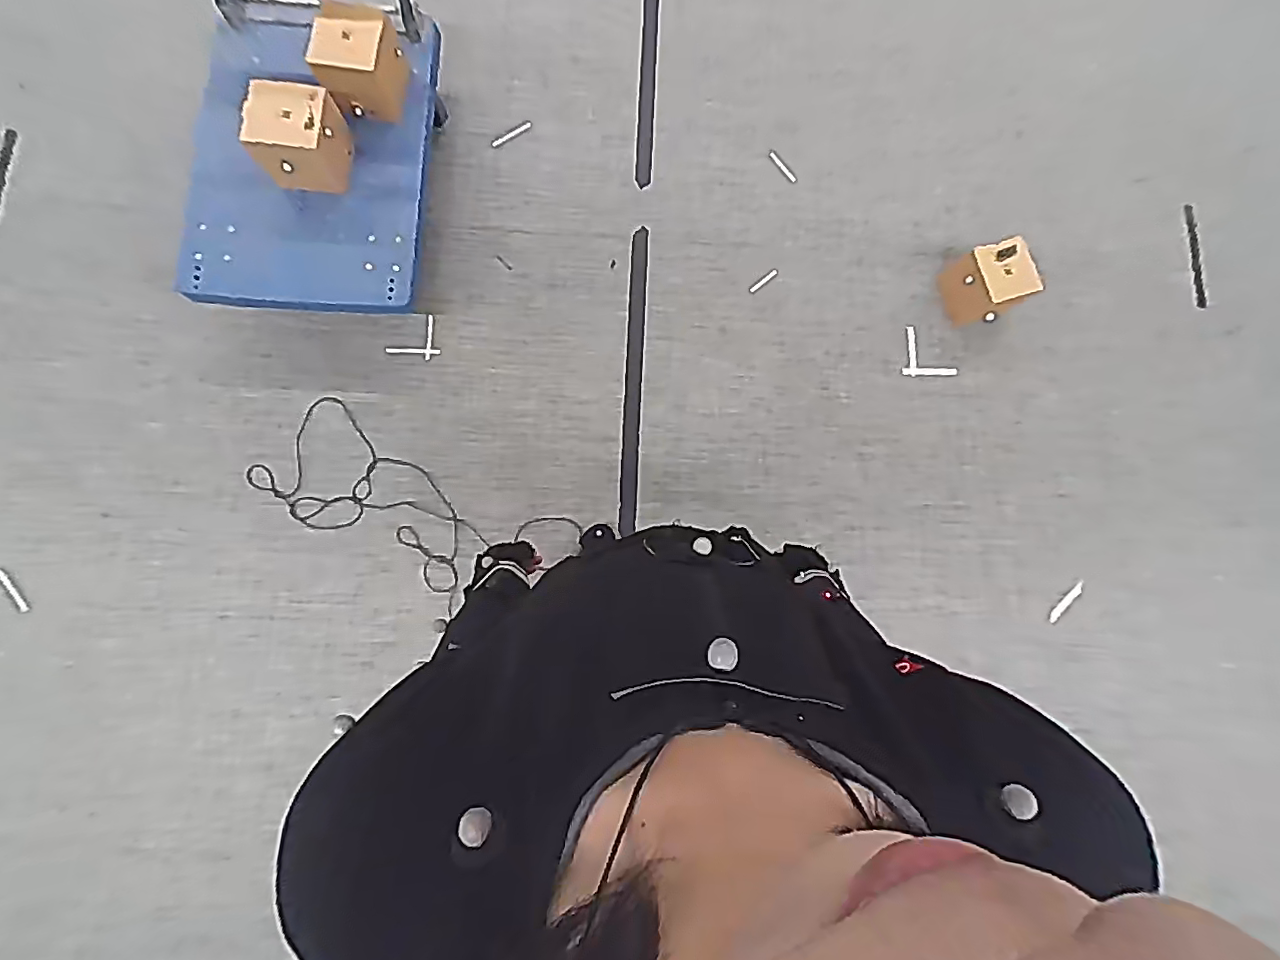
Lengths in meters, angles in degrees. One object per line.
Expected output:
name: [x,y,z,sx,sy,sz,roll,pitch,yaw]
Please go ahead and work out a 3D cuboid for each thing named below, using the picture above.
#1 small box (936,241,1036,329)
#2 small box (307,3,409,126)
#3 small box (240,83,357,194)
small box: [1.042,-0.587,1.645,0.168,0.176,0.179,-16,84,-6]
small box: [-0.716,-1.064,1.395,0.168,0.176,0.179,7,83,-1]
small box: [-0.846,-0.847,1.354,0.179,0.176,0.168,4,83,-2]
